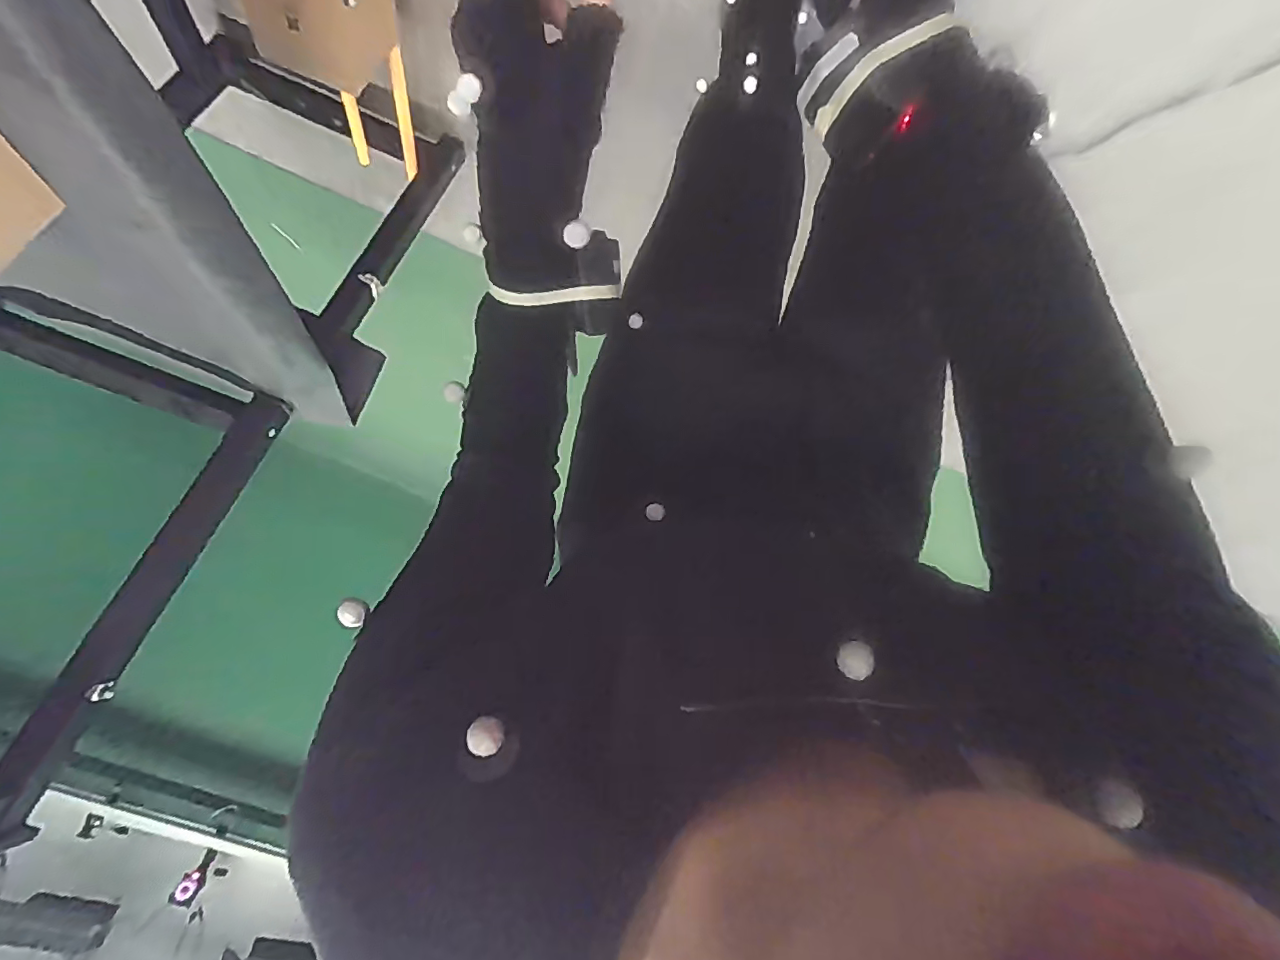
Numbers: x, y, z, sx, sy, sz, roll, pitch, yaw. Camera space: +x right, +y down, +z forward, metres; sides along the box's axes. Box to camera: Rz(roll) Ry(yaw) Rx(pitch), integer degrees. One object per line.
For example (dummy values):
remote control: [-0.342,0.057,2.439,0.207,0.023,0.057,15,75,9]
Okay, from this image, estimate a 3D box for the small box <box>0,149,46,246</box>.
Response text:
small box: [-0.717,-0.293,0.478,0.168,0.176,0.179,23,158,-10]
